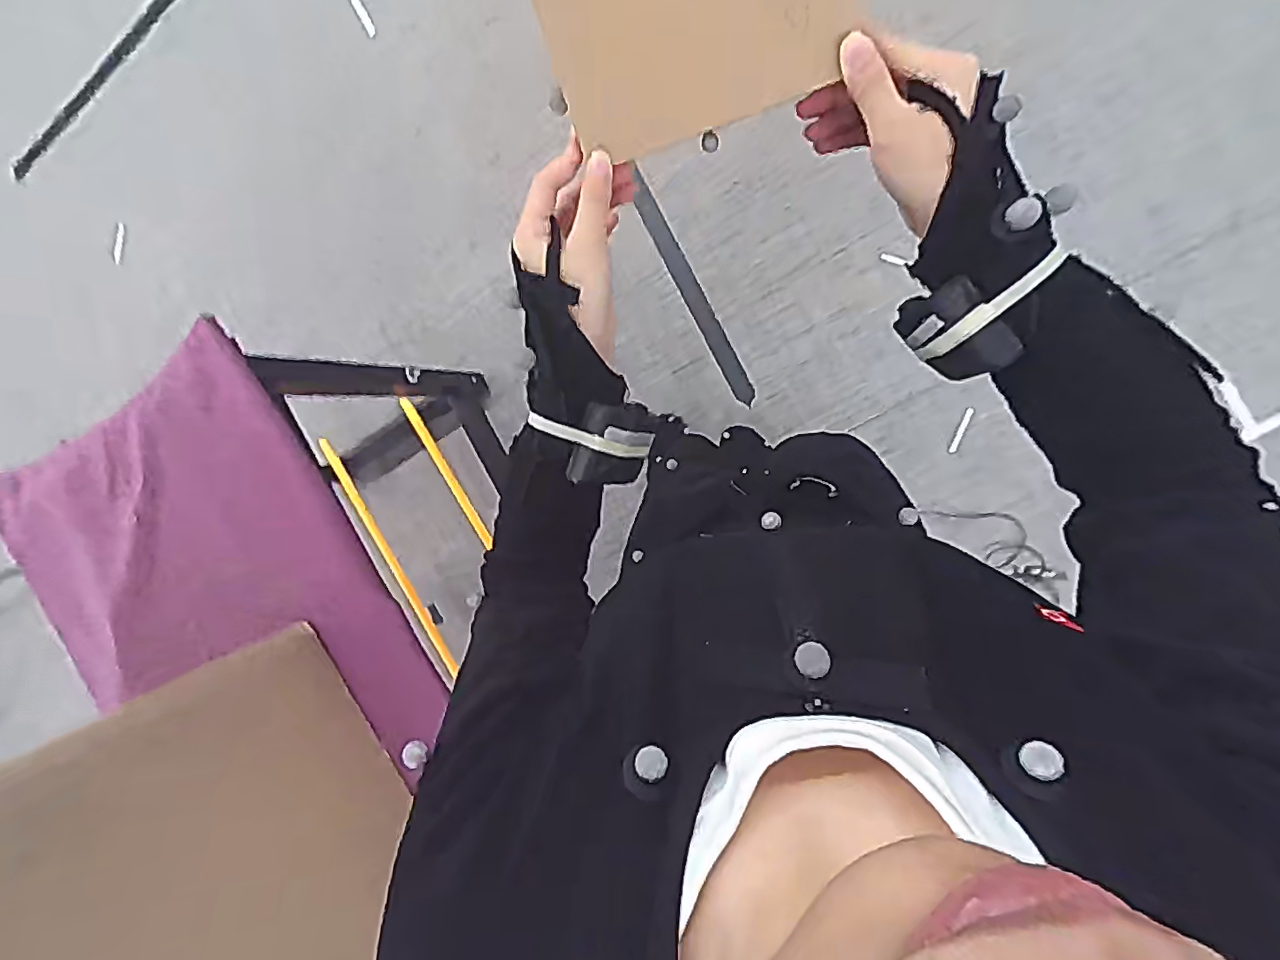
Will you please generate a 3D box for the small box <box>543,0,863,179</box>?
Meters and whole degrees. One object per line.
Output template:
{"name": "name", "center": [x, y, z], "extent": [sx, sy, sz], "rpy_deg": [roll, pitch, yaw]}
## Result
{"name": "small box", "center": [0.033, -0.320, 0.346], "extent": [0.168, 0.176, 0.179], "rpy_deg": [-12, 121, 13]}
